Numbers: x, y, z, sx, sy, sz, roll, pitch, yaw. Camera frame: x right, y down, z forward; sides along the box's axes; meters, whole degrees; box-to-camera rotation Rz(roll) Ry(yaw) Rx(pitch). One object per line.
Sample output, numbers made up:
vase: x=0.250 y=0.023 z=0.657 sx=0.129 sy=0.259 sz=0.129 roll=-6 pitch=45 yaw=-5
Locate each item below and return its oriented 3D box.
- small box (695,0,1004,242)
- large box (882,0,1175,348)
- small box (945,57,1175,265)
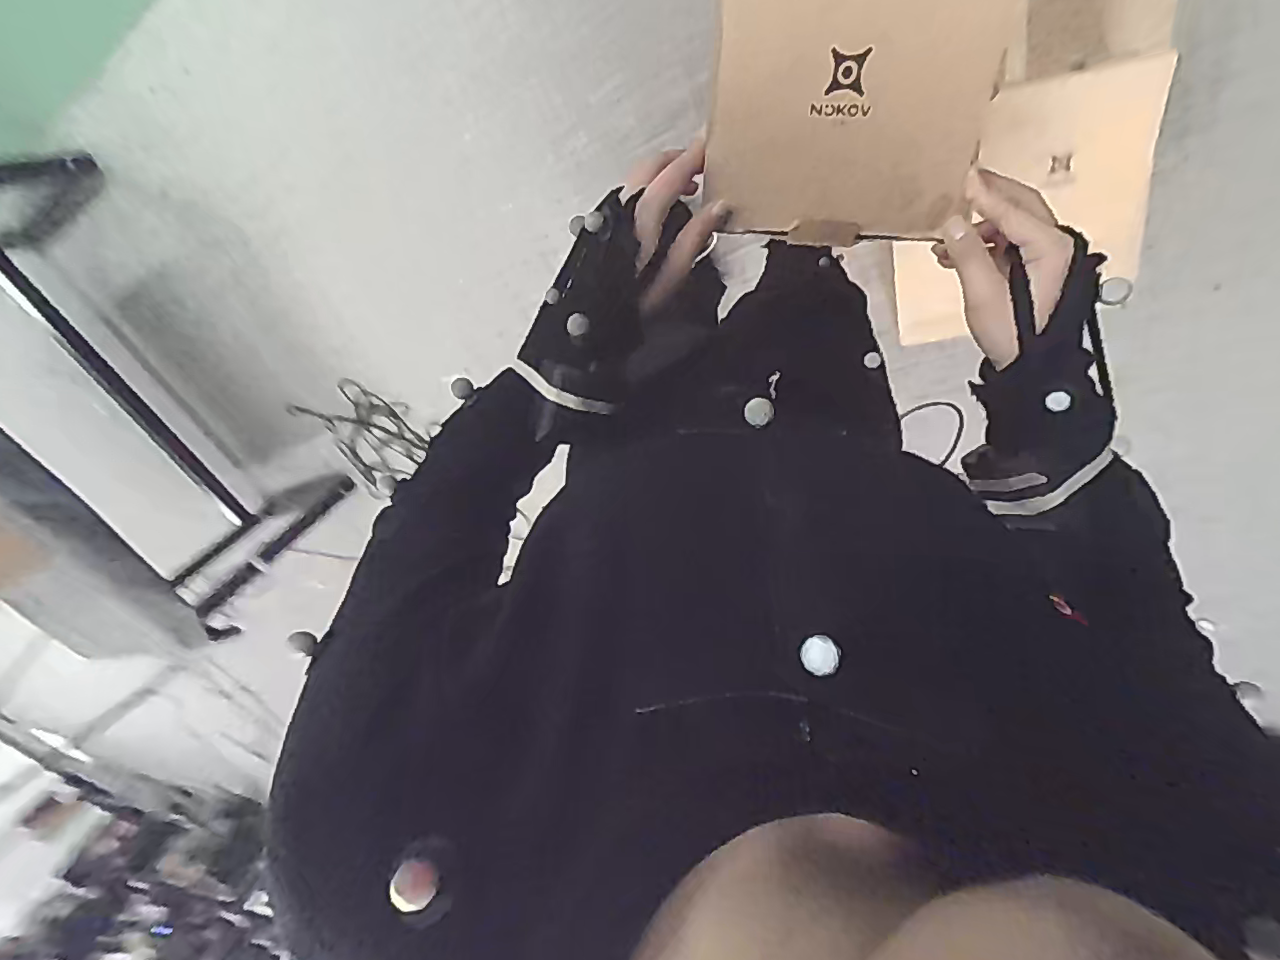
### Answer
small box: x=0.133 y=-0.280 z=0.391 sx=0.168 sy=0.176 sz=0.179 roll=4 pitch=122 yaw=10
large box: x=0.560 y=-0.487 z=0.870 sx=0.320 sy=0.320 sz=0.408 roll=-7 pitch=124 yaw=24
small box: x=0.483 y=-0.383 z=0.659 sx=0.168 sy=0.176 sz=0.179 roll=-2 pitch=125 yaw=20
